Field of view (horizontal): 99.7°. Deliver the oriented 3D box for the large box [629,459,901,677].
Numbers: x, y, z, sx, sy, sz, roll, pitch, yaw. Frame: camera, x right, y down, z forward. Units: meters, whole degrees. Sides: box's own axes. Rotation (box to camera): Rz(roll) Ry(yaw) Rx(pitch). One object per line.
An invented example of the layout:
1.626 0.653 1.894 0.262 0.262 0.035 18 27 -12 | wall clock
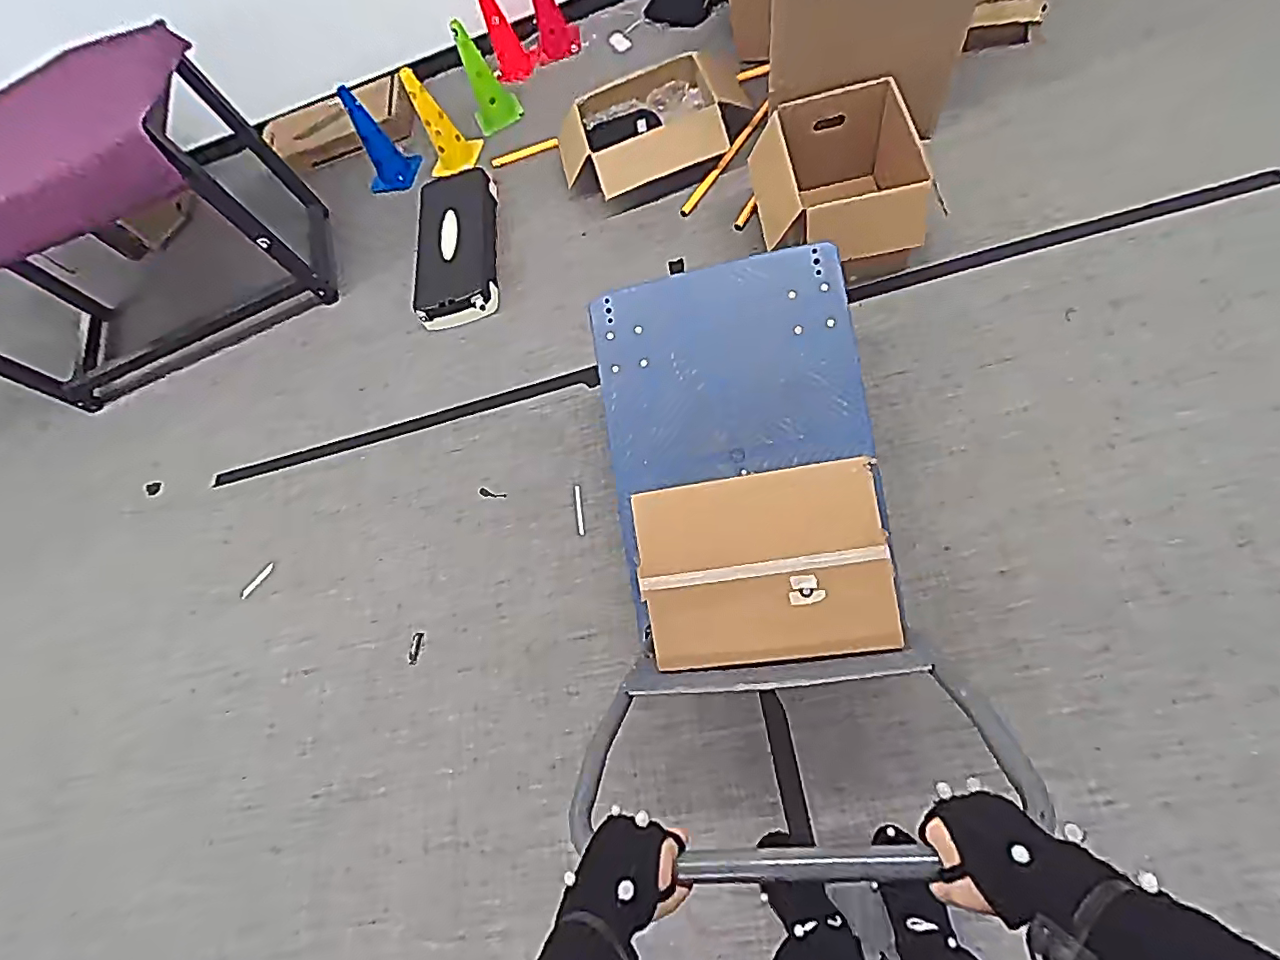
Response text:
0.224 0.157 1.042 0.408 0.320 0.320 -10 87 11 | large box
